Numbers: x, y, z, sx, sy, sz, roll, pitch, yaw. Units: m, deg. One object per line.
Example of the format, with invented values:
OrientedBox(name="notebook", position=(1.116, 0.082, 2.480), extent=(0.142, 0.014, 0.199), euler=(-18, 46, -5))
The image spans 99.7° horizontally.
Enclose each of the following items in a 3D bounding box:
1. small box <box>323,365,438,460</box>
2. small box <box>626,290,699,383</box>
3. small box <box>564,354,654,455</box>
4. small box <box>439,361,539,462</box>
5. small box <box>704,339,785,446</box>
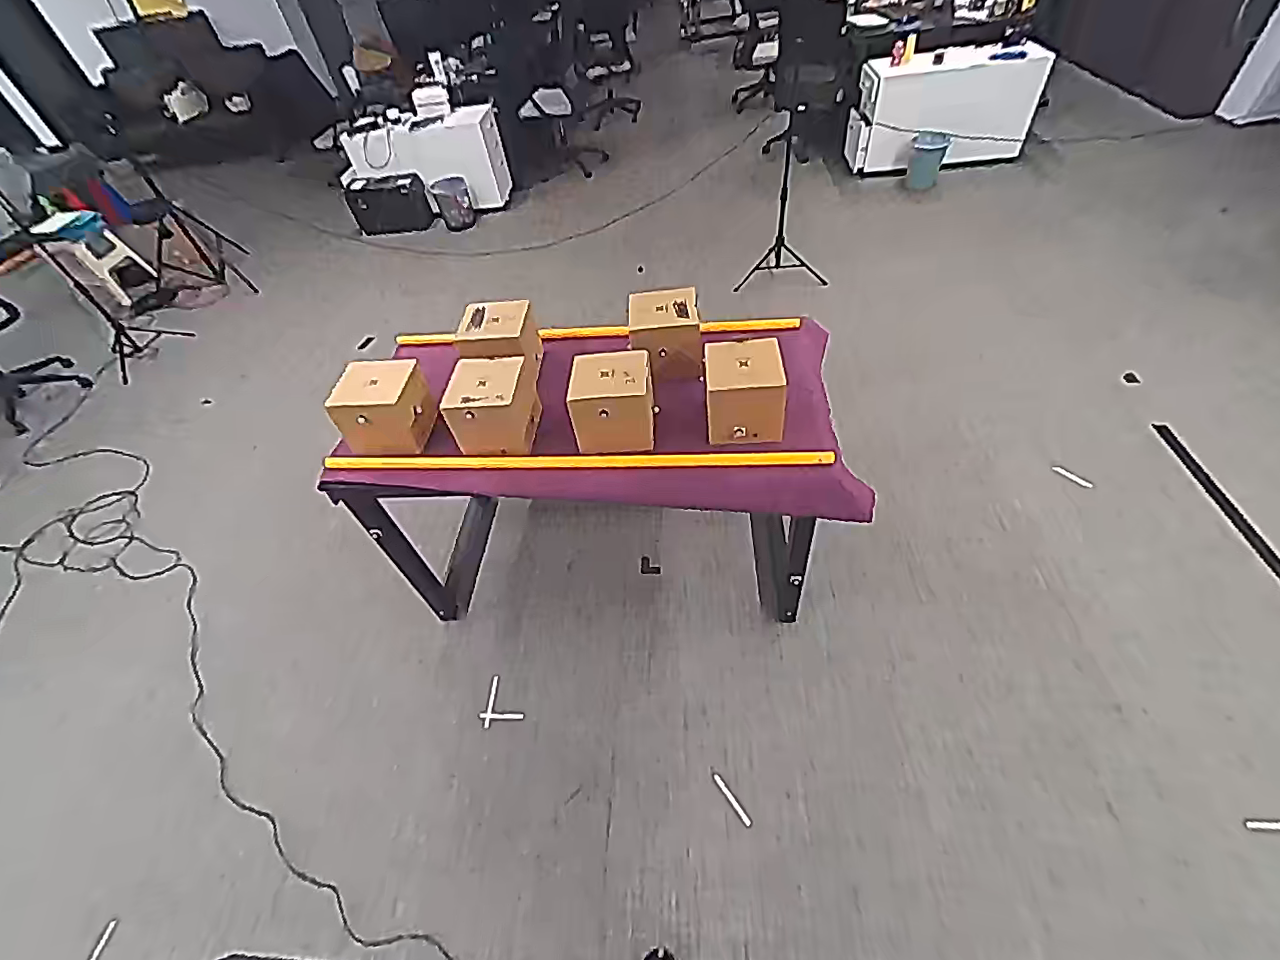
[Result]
OrientedBox(name="small box", position=(-0.626, -0.163, 1.335), extent=(0.179, 0.176, 0.168), euler=(-2, 48, 6))
OrientedBox(name="small box", position=(0.063, -0.370, 1.412), extent=(0.179, 0.176, 0.168), euler=(-5, 49, 6))
OrientedBox(name="small box", position=(-0.065, -0.172, 1.257), extent=(0.179, 0.176, 0.168), euler=(-3, 47, 6))
OrientedBox(name="small box", position=(-0.349, -0.163, 1.294), extent=(0.168, 0.176, 0.179), euler=(-2, 48, 7))
OrientedBox(name="small box", position=(0.232, -0.197, 1.231), extent=(0.168, 0.176, 0.179), euler=(-4, 46, 8))
